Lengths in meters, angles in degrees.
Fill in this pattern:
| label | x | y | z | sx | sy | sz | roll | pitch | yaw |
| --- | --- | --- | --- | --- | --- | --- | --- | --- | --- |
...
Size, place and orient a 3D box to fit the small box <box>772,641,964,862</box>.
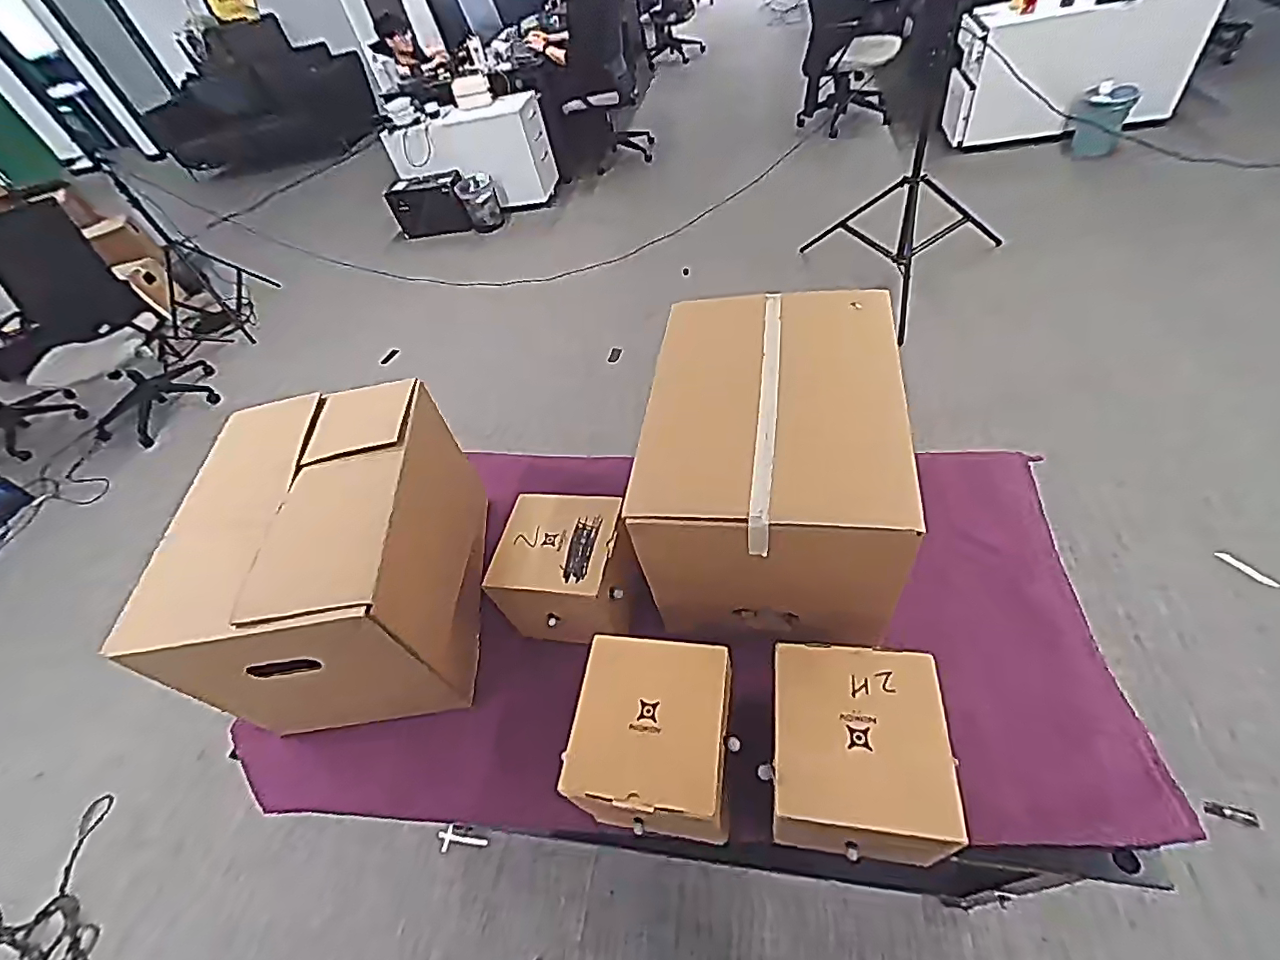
| label | x | y | z | sx | sy | sz | roll | pitch | yaw |
| --- | --- | --- | --- | --- | --- | --- | --- | --- | --- |
| small box | 0.234 | 0.301 | 0.600 | 0.168 | 0.176 | 0.179 | 1 | 49 | 14 |
